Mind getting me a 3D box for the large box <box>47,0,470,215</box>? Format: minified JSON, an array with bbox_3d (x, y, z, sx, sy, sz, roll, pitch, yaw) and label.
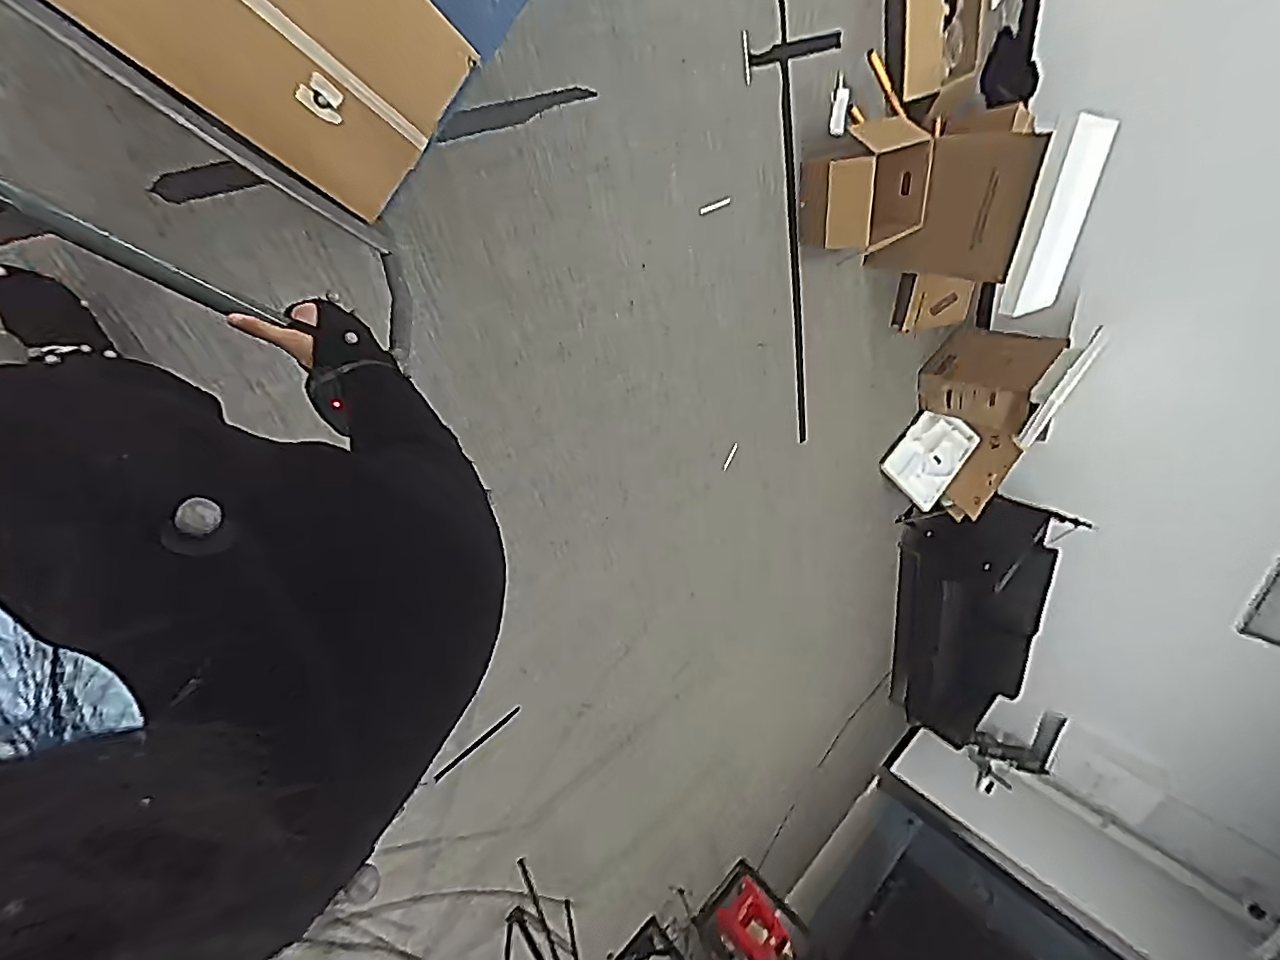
[{"bbox_3d":[-0.549,-0.702,0.823,0.320,0.320,0.408,-48,139,13],"label":"large box"}]
